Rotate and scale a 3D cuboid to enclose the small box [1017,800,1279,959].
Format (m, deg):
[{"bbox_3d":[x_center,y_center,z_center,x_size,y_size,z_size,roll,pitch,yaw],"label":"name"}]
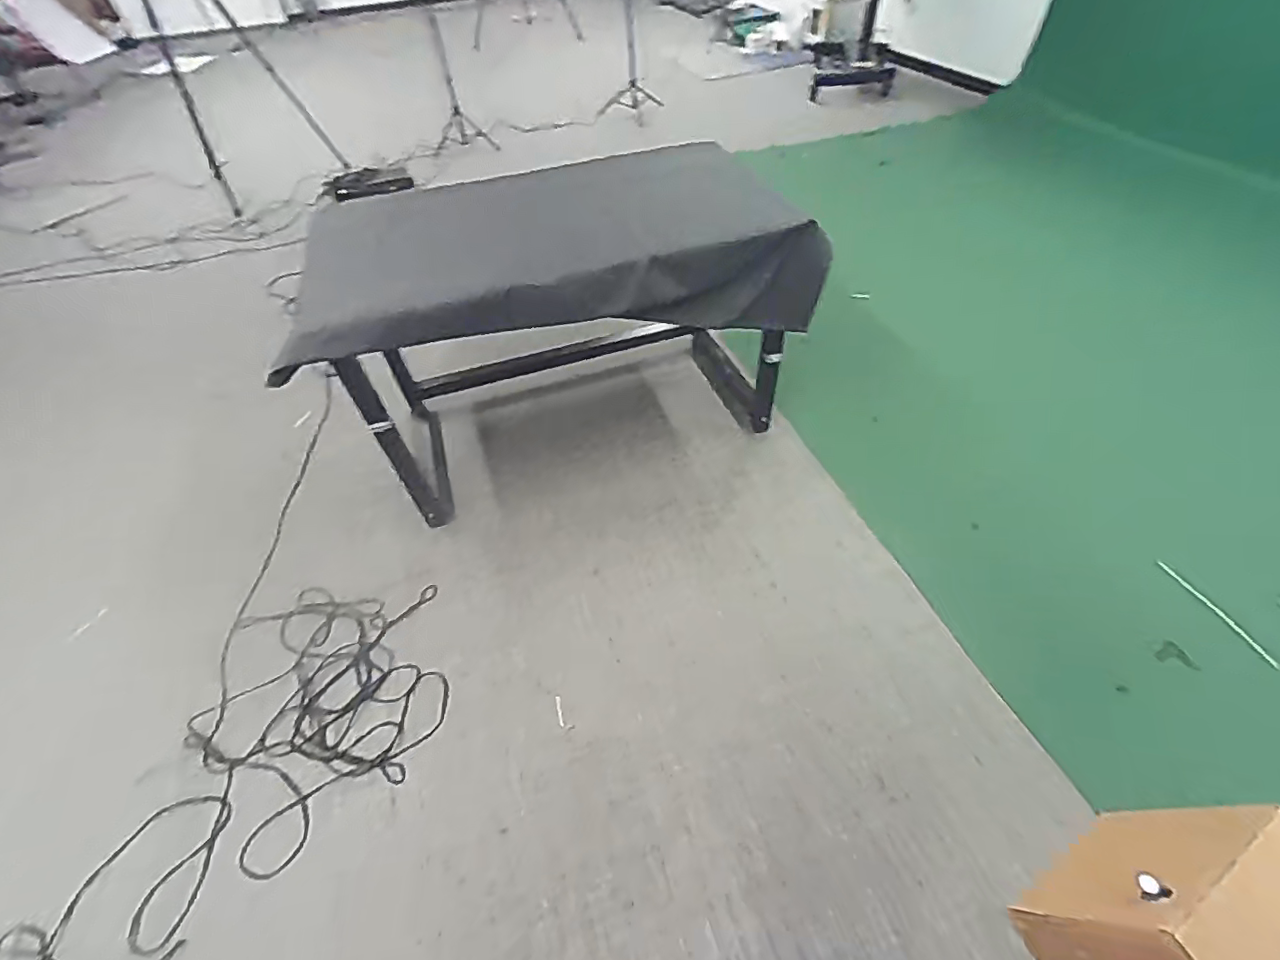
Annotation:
[{"bbox_3d":[0.465,0.387,0.437,0.179,0.176,0.168,-20,63,-21],"label":"small box"}]
